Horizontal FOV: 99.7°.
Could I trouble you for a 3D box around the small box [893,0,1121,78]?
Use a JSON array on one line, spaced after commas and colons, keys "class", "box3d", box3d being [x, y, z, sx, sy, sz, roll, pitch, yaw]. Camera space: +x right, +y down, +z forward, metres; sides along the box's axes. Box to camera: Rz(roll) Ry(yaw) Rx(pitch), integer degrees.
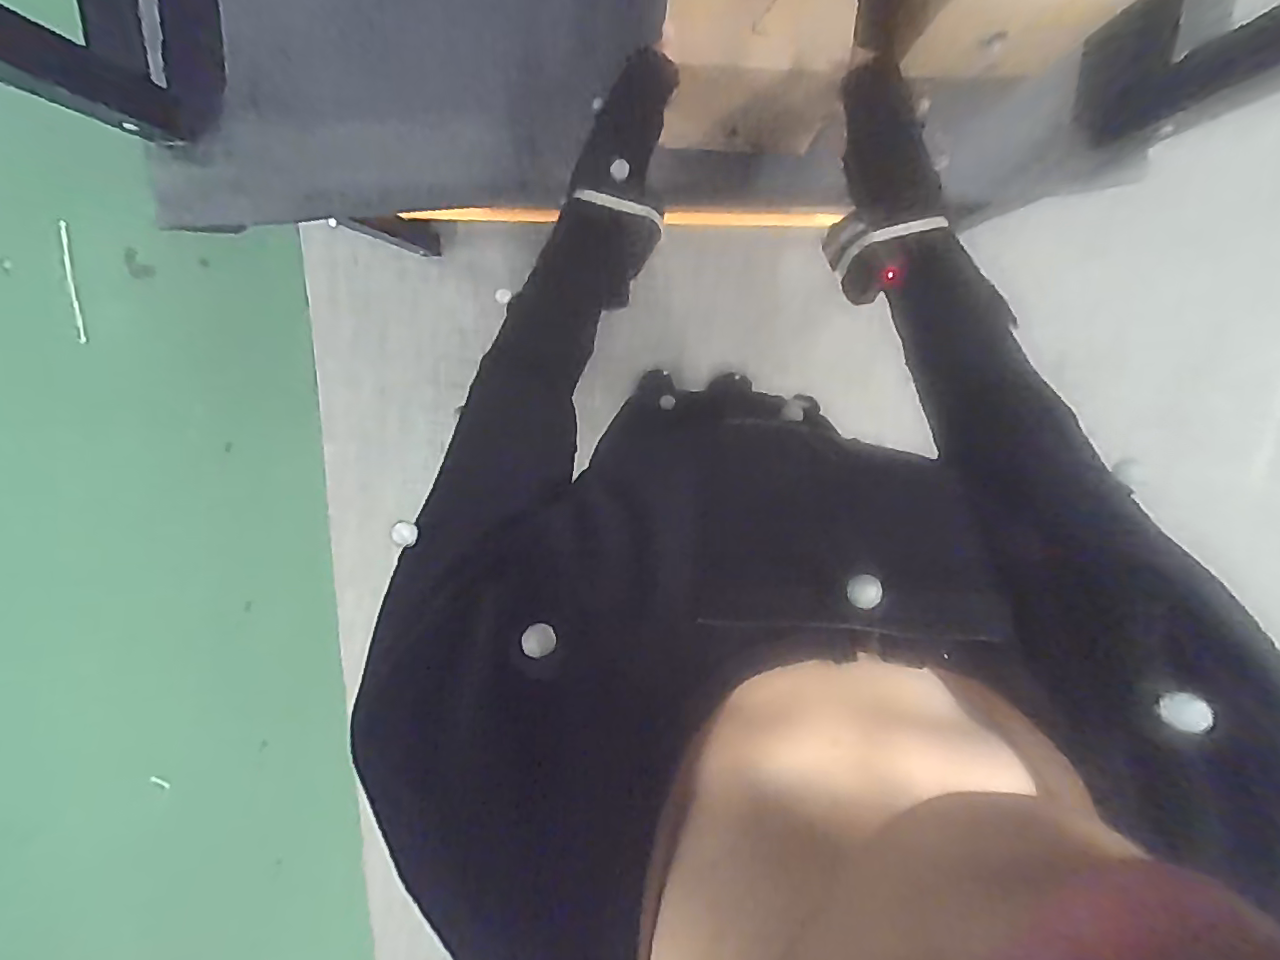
[{"class": "small box", "box3d": [0.364, -0.523, 0.524, 0.168, 0.176, 0.179, 2, 102, 3]}]
